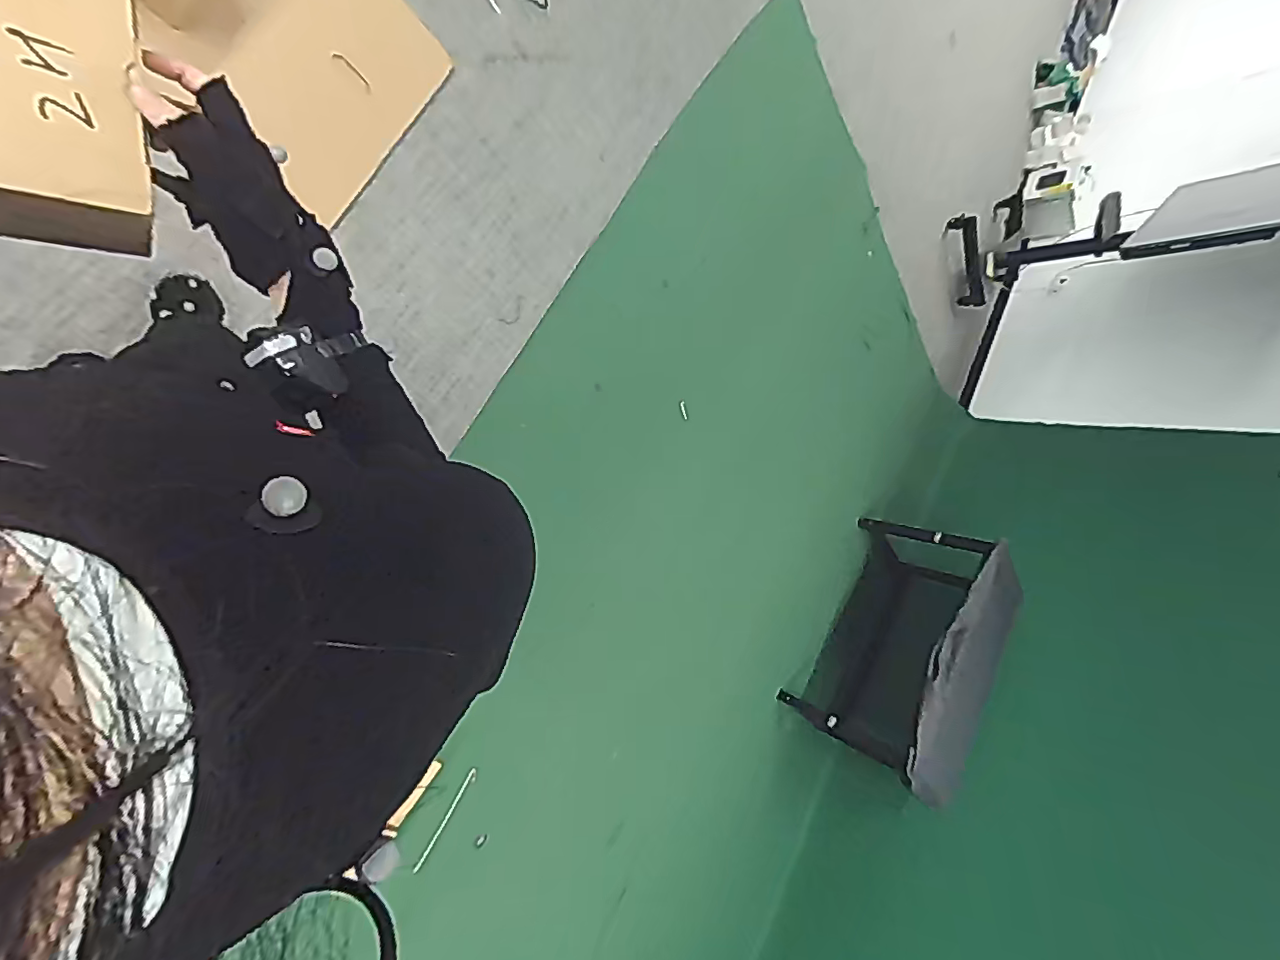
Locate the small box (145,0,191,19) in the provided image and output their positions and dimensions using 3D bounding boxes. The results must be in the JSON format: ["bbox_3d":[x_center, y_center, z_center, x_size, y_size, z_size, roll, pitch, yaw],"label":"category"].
[{"bbox_3d":[-0.874,-0.981,0.953,0.168,0.176,0.179,32,76,-40],"label":"small box"}]

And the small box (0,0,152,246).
[{"bbox_3d":[-0.426,-0.257,0.335,0.179,0.176,0.168,-6,103,-42],"label":"small box"}]
